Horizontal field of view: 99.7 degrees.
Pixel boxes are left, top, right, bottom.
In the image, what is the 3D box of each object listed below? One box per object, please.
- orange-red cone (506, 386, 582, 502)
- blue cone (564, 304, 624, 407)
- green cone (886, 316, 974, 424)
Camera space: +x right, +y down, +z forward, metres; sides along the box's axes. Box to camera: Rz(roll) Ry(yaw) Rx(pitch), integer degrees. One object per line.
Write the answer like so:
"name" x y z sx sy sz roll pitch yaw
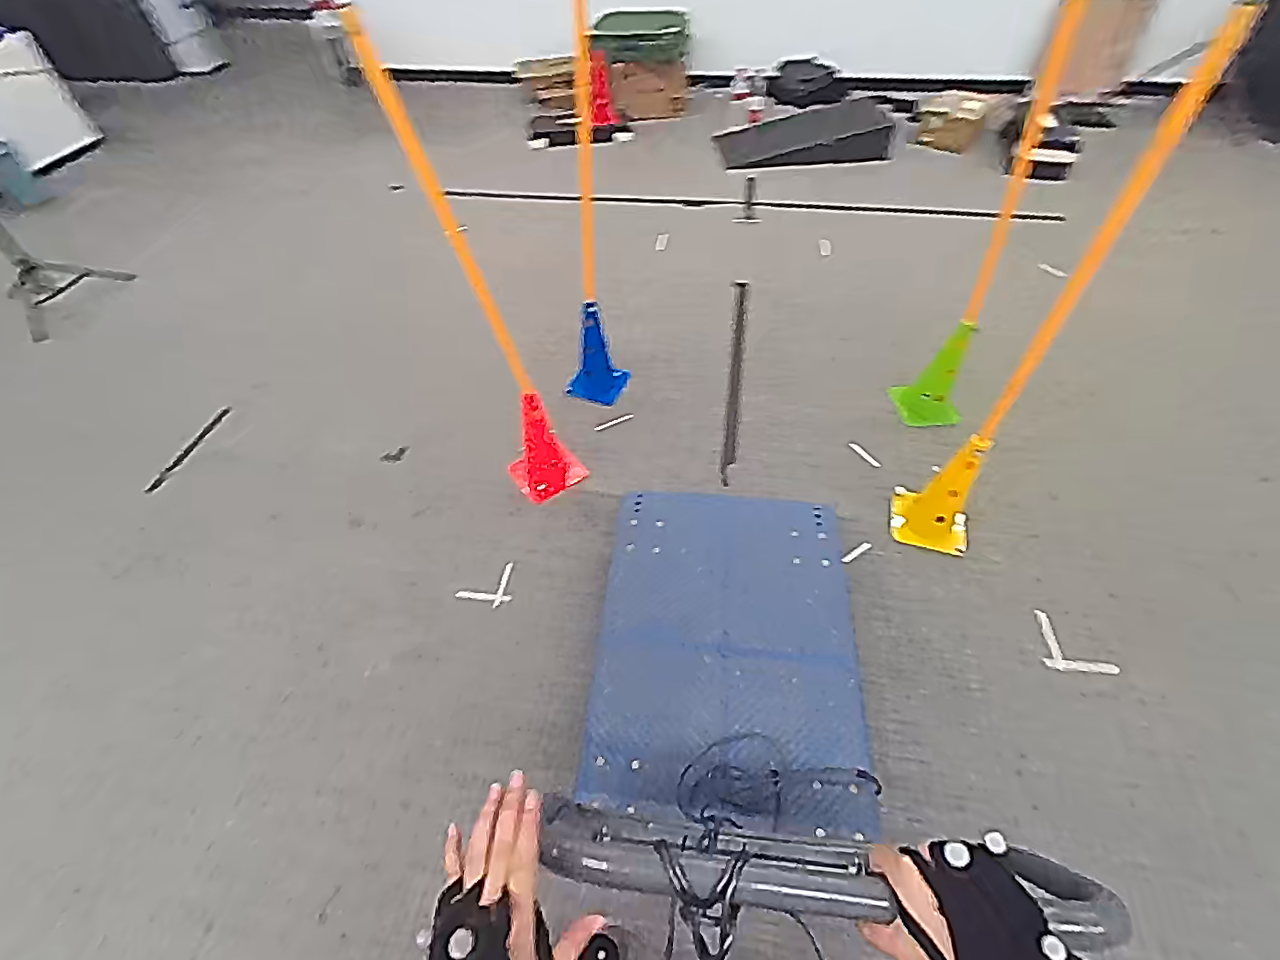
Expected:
"orange-red cone" -0.314 -0.136 1.632 0.199 0.360 0.198 -30 57 -22
"blue cone" -0.174 -0.456 1.906 0.193 0.380 0.192 18 54 15
"green cone" 1.000 -0.384 1.797 0.200 0.368 0.202 -5 52 -2
